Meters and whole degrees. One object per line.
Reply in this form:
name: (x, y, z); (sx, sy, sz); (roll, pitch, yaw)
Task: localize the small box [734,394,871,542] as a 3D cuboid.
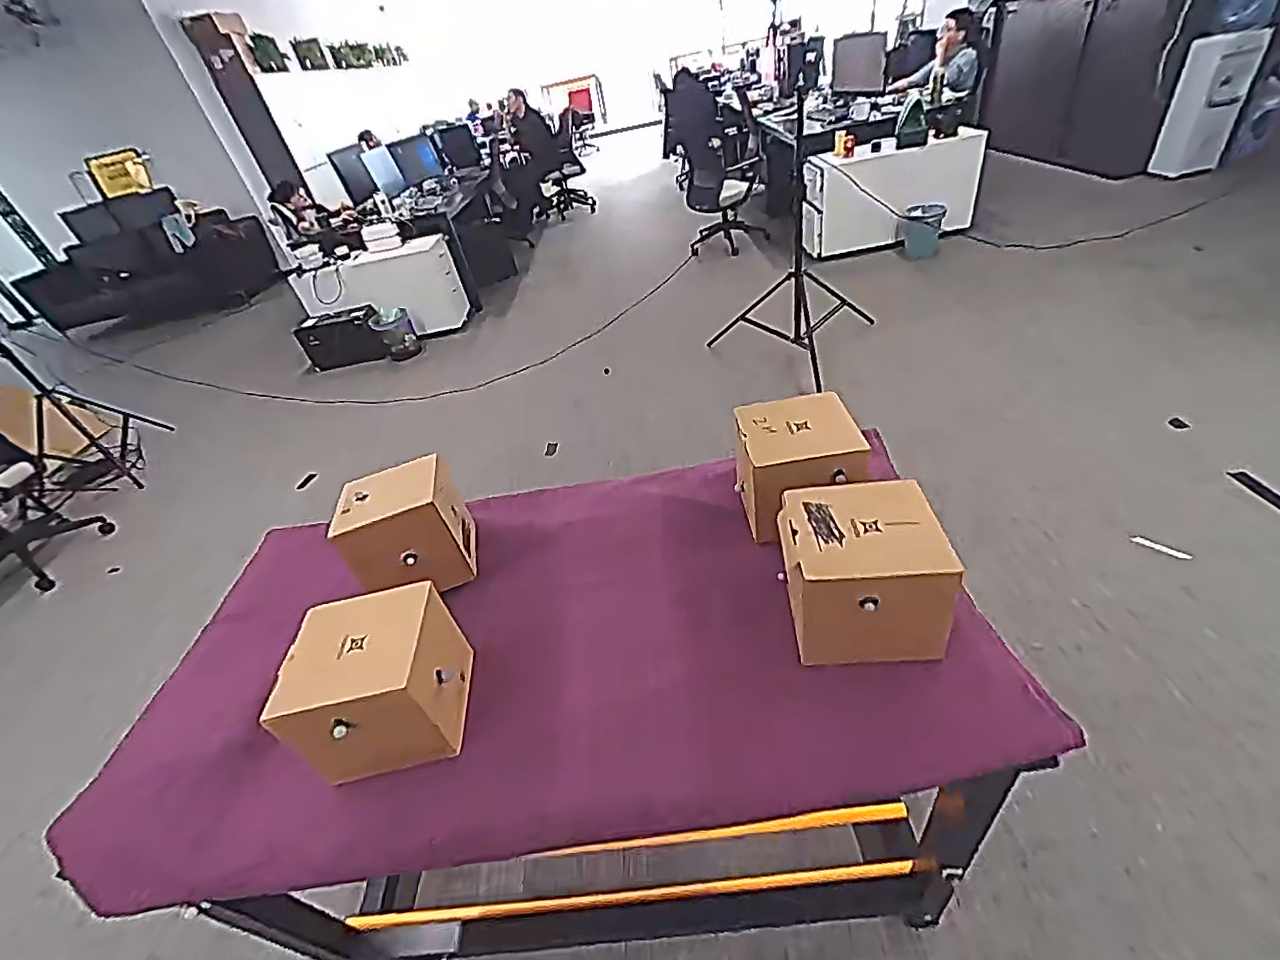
small box: (0.259, -0.018, 0.898); (0.179, 0.176, 0.168); (-9, 39, 4)

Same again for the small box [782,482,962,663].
small box: (0.289, 0.124, 0.712); (0.179, 0.176, 0.168); (-6, 37, 9)

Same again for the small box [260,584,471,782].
small box: (-0.341, 0.269, 0.719); (0.179, 0.176, 0.168); (-13, 37, 0)
